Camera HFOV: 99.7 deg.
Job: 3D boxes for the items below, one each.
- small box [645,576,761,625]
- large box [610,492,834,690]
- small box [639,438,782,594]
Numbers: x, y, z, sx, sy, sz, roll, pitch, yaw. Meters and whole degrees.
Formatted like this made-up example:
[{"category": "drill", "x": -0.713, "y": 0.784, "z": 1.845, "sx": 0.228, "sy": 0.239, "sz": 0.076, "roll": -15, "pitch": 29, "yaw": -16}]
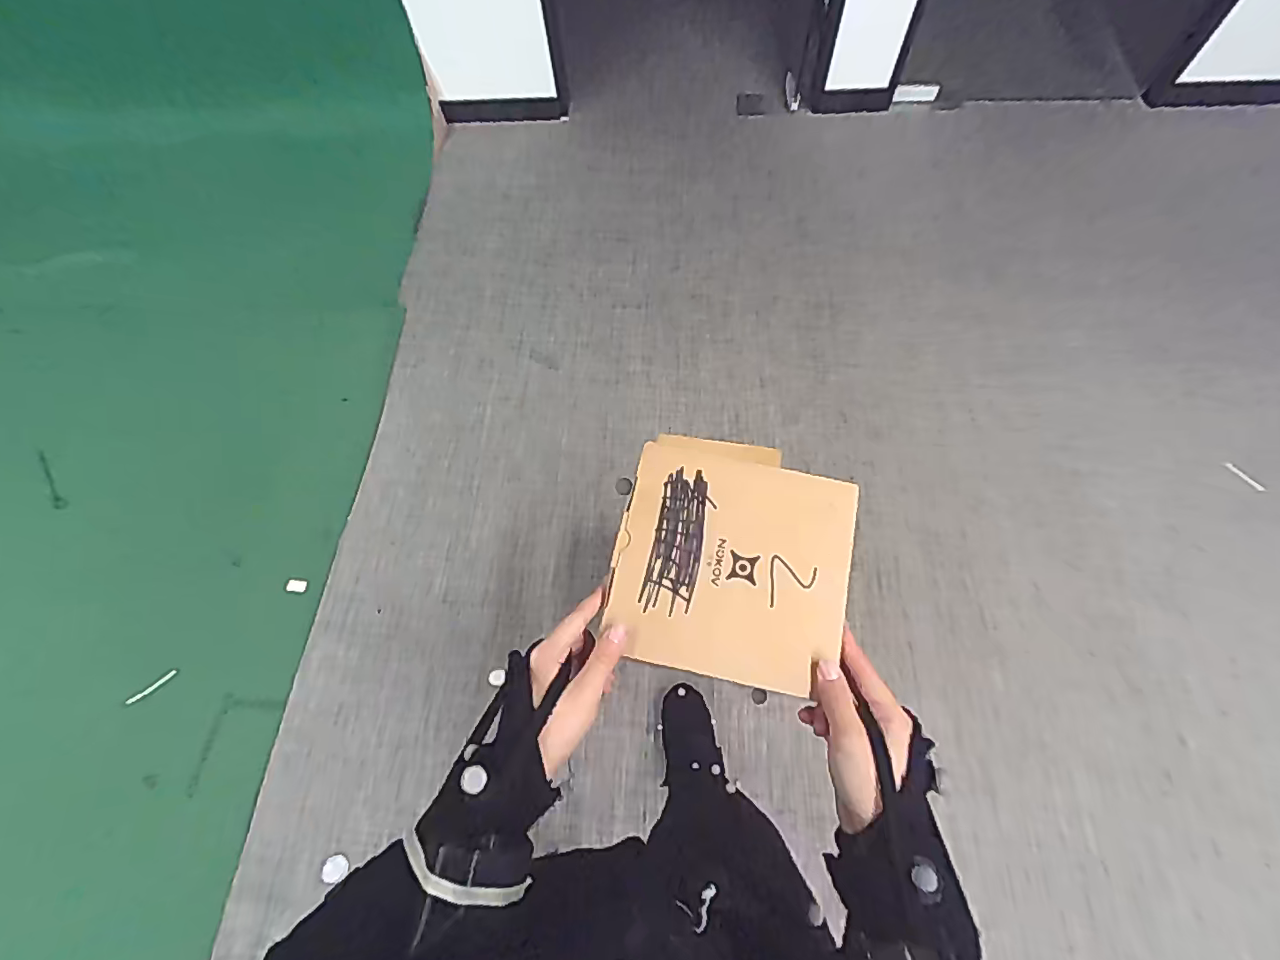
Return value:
[{"category": "small box", "x": 0.111, "y": 0.144, "z": 0.932, "sx": 0.179, "sy": 0.176, "sz": 0.168, "roll": 8, "pitch": 64, "yaw": 7}, {"category": "large box", "x": 0.164, "y": 0.247, "z": 1.149, "sx": 0.408, "sy": 0.320, "sz": 0.320, "roll": 8, "pitch": 66, "yaw": 5}, {"category": "small box", "x": 0.100, "y": 0.059, "z": 0.792, "sx": 0.179, "sy": 0.176, "sz": 0.168, "roll": 8, "pitch": 64, "yaw": 6}]
